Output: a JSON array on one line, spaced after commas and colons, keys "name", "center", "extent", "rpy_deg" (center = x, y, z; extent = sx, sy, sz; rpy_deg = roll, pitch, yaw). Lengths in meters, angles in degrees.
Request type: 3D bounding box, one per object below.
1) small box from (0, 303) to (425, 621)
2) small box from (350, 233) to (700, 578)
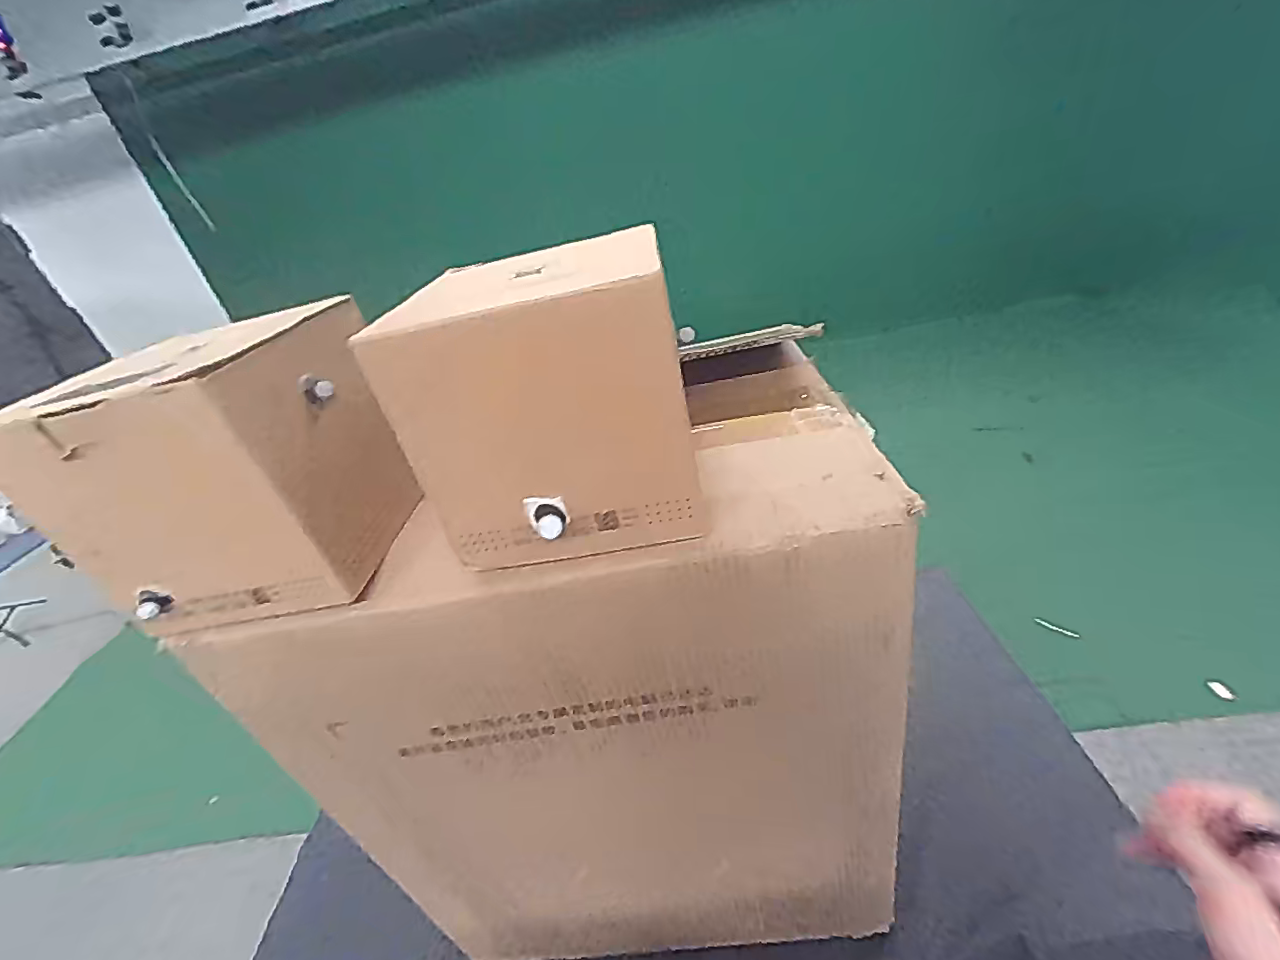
[{"name": "small box", "center": [-0.291, -0.012, 0.407], "extent": [0.168, 0.176, 0.179], "rpy_deg": [-10, 31, 8]}, {"name": "small box", "center": [-0.057, -0.058, 0.384], "extent": [0.168, 0.176, 0.179], "rpy_deg": [-11, 32, 6]}]
